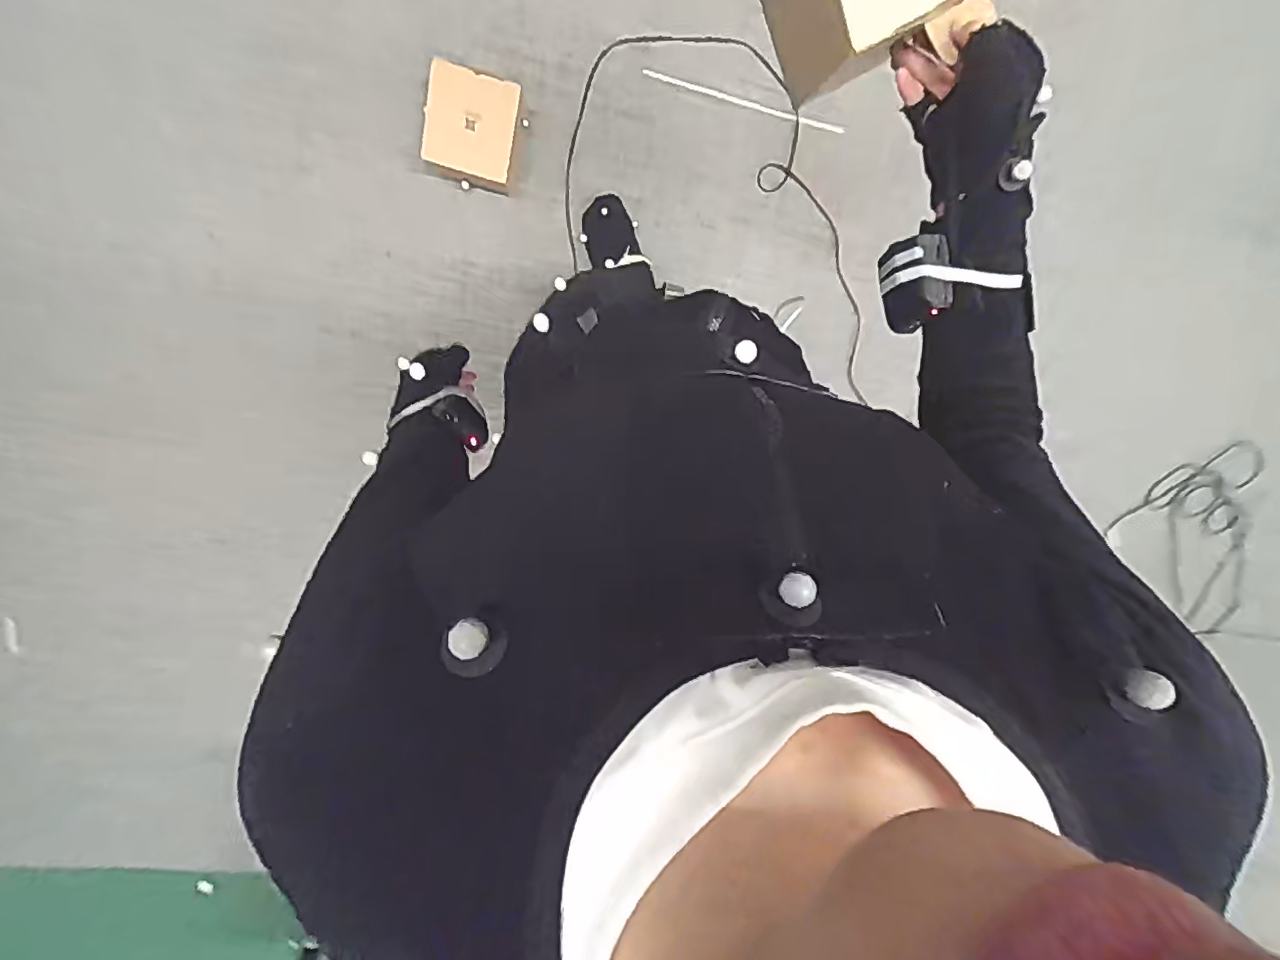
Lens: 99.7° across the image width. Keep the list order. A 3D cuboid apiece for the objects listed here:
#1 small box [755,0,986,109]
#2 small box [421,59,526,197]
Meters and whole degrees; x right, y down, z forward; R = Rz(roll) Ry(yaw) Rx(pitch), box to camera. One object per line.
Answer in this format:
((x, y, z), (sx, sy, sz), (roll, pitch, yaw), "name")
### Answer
((0.184, -0.441, 0.428), (0.168, 0.176, 0.179), (-23, 110, 10), "small box")
((-0.333, -0.707, 1.109), (0.168, 0.176, 0.179), (13, 108, -11), "small box")
